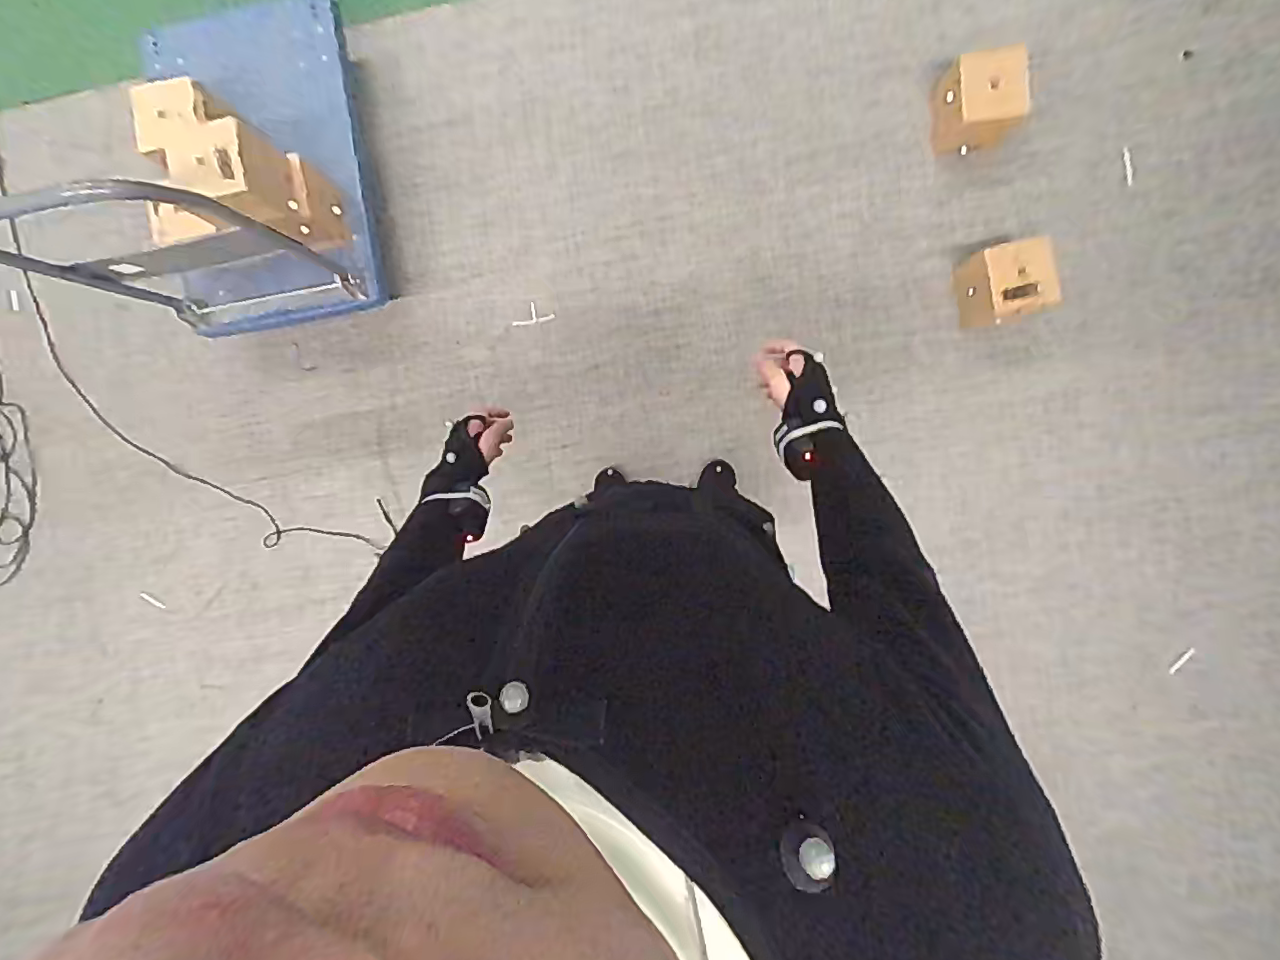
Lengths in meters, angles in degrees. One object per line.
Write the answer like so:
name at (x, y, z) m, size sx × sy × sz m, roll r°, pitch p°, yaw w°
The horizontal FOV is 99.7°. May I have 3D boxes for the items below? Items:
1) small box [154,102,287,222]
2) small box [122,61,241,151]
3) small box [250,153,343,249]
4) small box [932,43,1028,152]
small box at (-0.951, -0.724, 1.247) m, size 0.179 × 0.176 × 0.168 m, roll -8°, pitch 91°, yaw 5°
small box at (-1.189, -0.945, 1.416) m, size 0.179 × 0.176 × 0.168 m, roll -5°, pitch 93°, yaw 4°
small box at (-0.917, -0.735, 1.417) m, size 0.168 × 0.176 × 0.179 m, roll 22°, pitch 94°, yaw 1°
small box at (0.908, -1.023, 1.458) m, size 0.168 × 0.176 × 0.179 m, roll -3°, pitch 92°, yaw 4°
